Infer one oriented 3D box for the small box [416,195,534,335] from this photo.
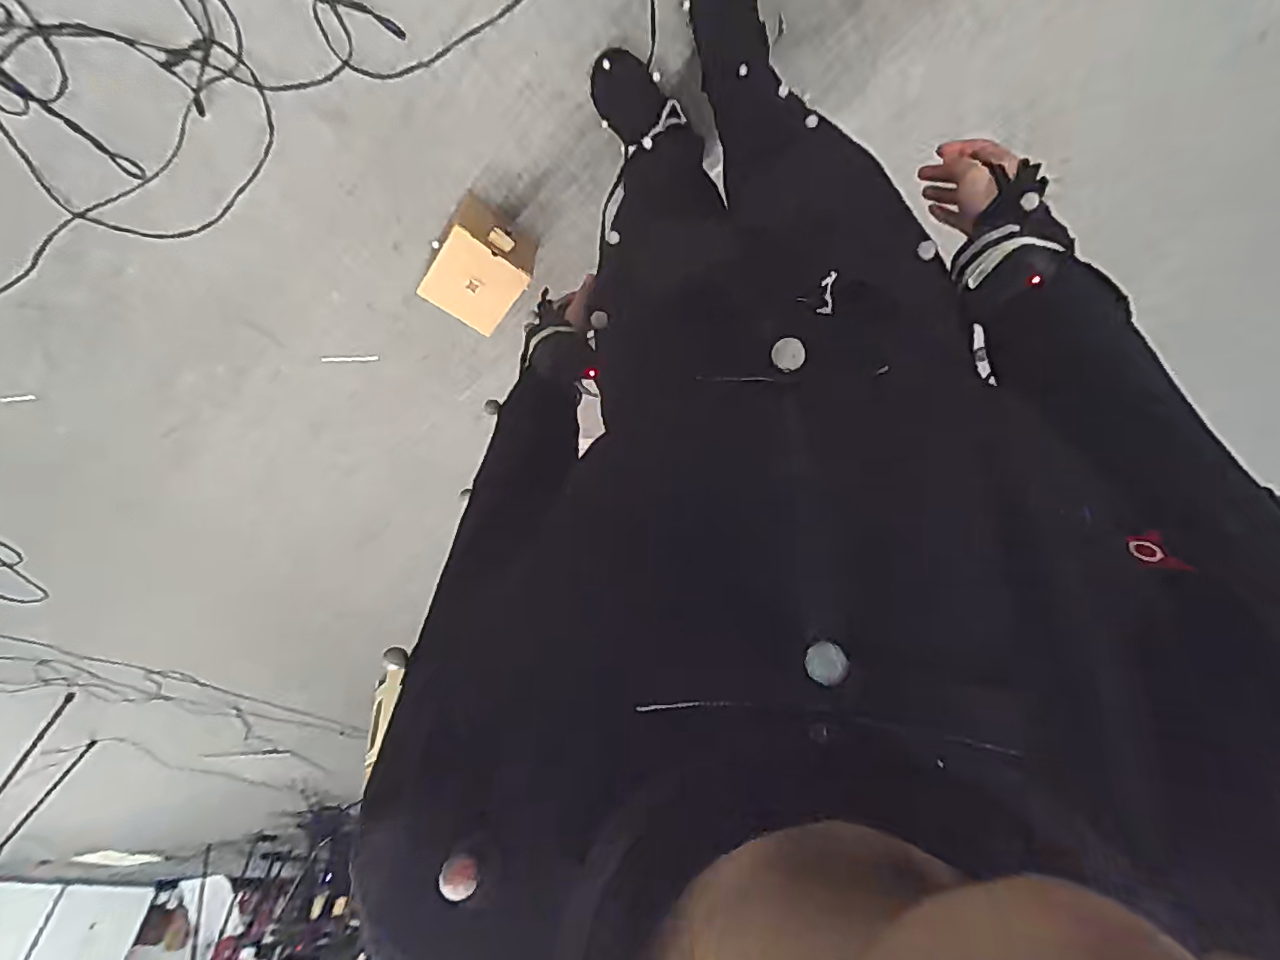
[{"bbox_3d":[-0.334,-0.445,1.125,0.168,0.176,0.179,29,127,-30],"label":"small box"}]
